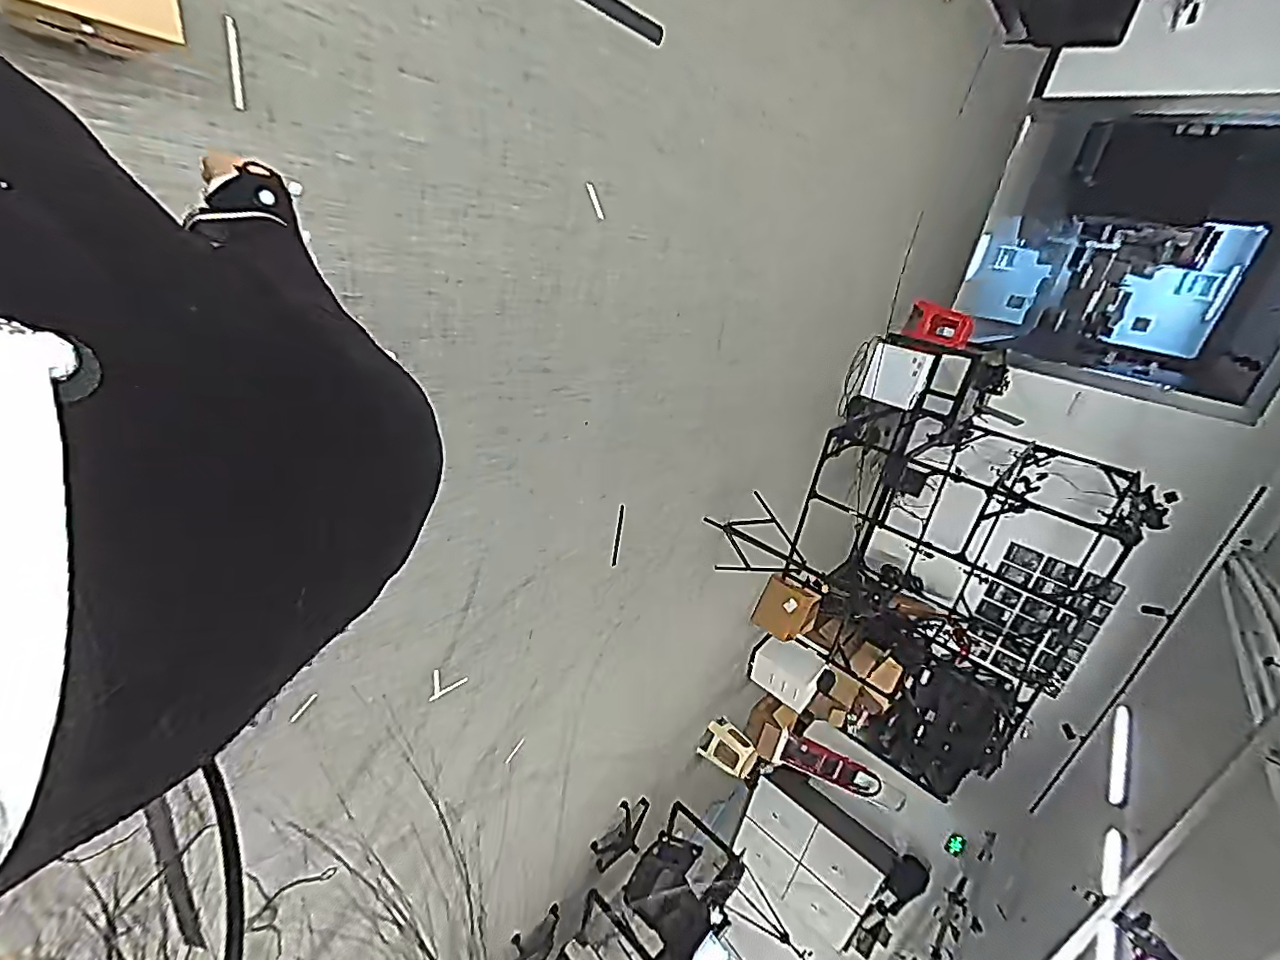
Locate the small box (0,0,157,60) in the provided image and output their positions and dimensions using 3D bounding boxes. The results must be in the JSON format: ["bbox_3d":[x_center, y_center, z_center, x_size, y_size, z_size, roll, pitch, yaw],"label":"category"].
[{"bbox_3d":[-0.889,-0.789,0.842,0.168,0.176,0.179,-17,127,-48],"label":"small box"}]

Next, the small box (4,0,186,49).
[{"bbox_3d":[-0.772,-0.724,0.748,0.179,0.176,0.168,-19,127,-46],"label":"small box"}]
